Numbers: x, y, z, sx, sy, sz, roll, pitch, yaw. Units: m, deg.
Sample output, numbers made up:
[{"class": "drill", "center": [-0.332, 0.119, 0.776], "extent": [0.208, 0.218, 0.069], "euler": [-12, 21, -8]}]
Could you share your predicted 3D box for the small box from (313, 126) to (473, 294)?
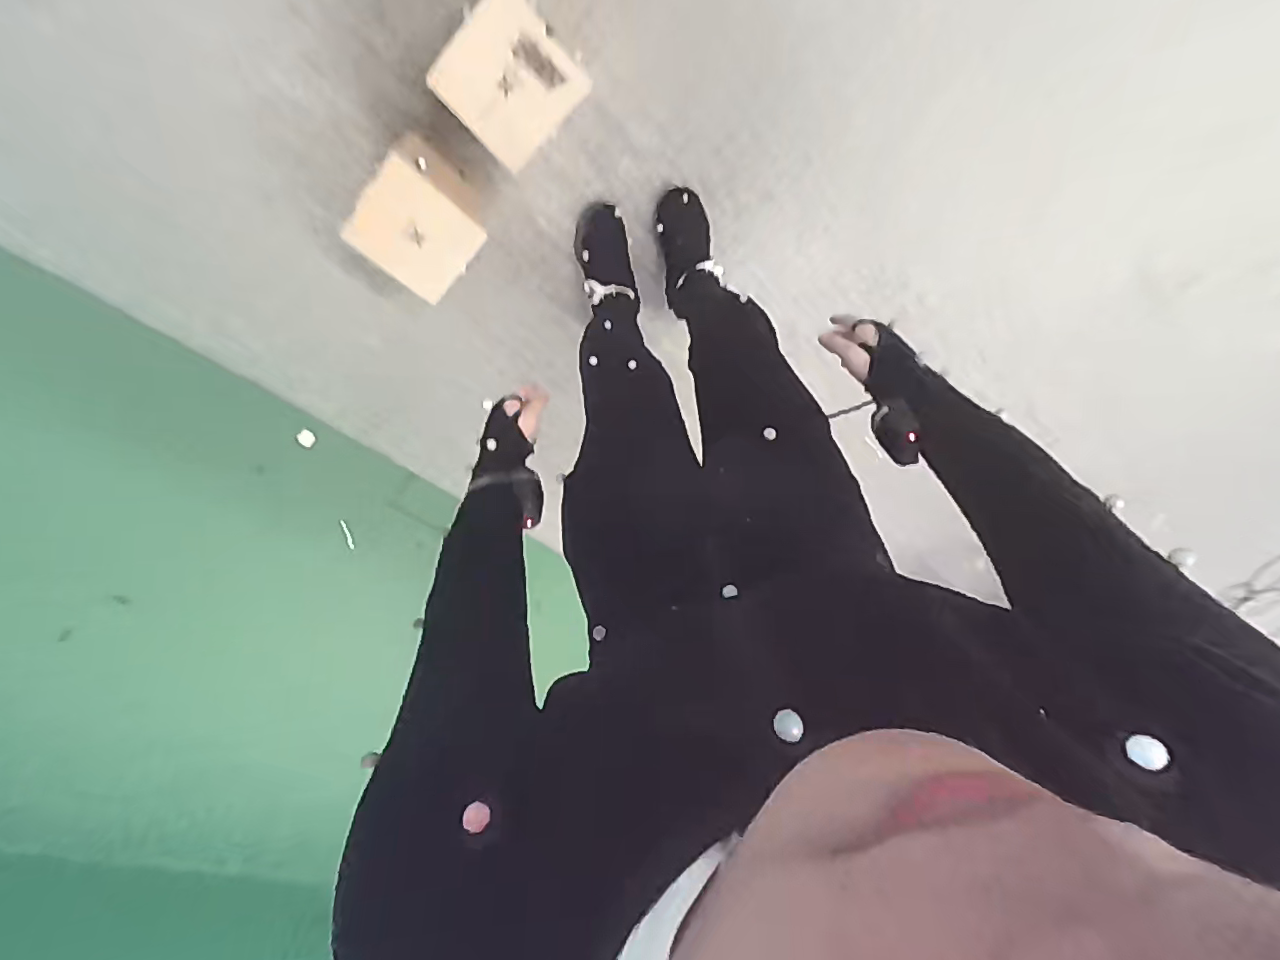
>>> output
[{"class": "small box", "center": [-0.404, -0.460, 0.916], "extent": [0.168, 0.176, 0.179], "euler": [-39, 126, 21]}]

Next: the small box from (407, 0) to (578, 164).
[{"class": "small box", "center": [-0.215, -0.623, 0.810], "extent": [0.179, 0.176, 0.168], "euler": [-36, 127, 20]}]

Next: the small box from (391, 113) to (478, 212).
[{"class": "small box", "center": [-0.429, -0.563, 1.038], "extent": [0.168, 0.176, 0.179], "euler": [-37, 128, 19]}]
